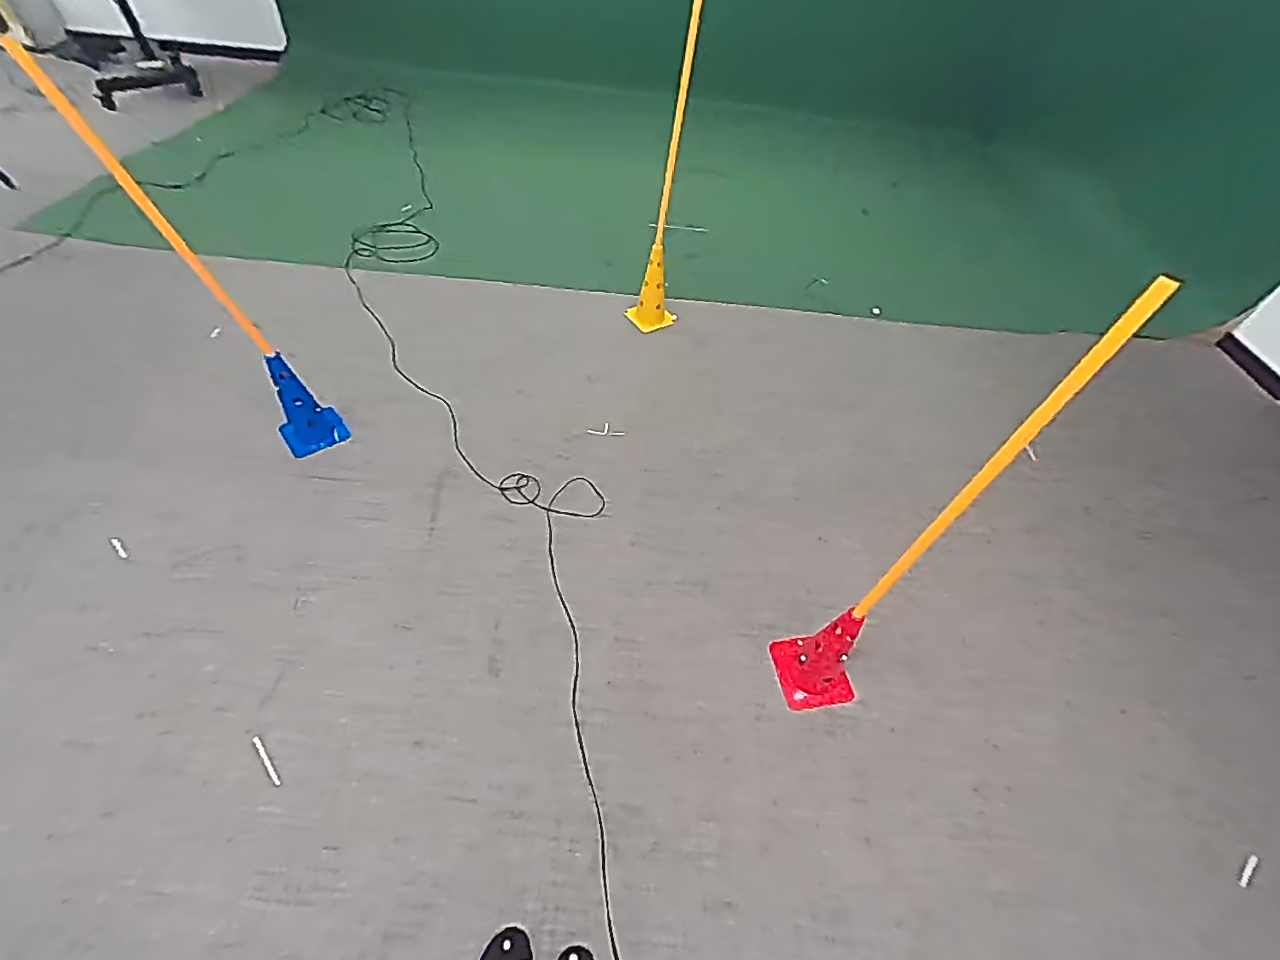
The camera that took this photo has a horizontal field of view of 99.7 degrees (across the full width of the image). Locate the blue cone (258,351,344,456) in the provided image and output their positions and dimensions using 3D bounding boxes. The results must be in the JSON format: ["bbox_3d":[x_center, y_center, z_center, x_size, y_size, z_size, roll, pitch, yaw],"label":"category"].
[{"bbox_3d":[-1.186,-0.273,1.838,0.193,0.380,0.192,-33,61,-26],"label":"blue cone"}]
